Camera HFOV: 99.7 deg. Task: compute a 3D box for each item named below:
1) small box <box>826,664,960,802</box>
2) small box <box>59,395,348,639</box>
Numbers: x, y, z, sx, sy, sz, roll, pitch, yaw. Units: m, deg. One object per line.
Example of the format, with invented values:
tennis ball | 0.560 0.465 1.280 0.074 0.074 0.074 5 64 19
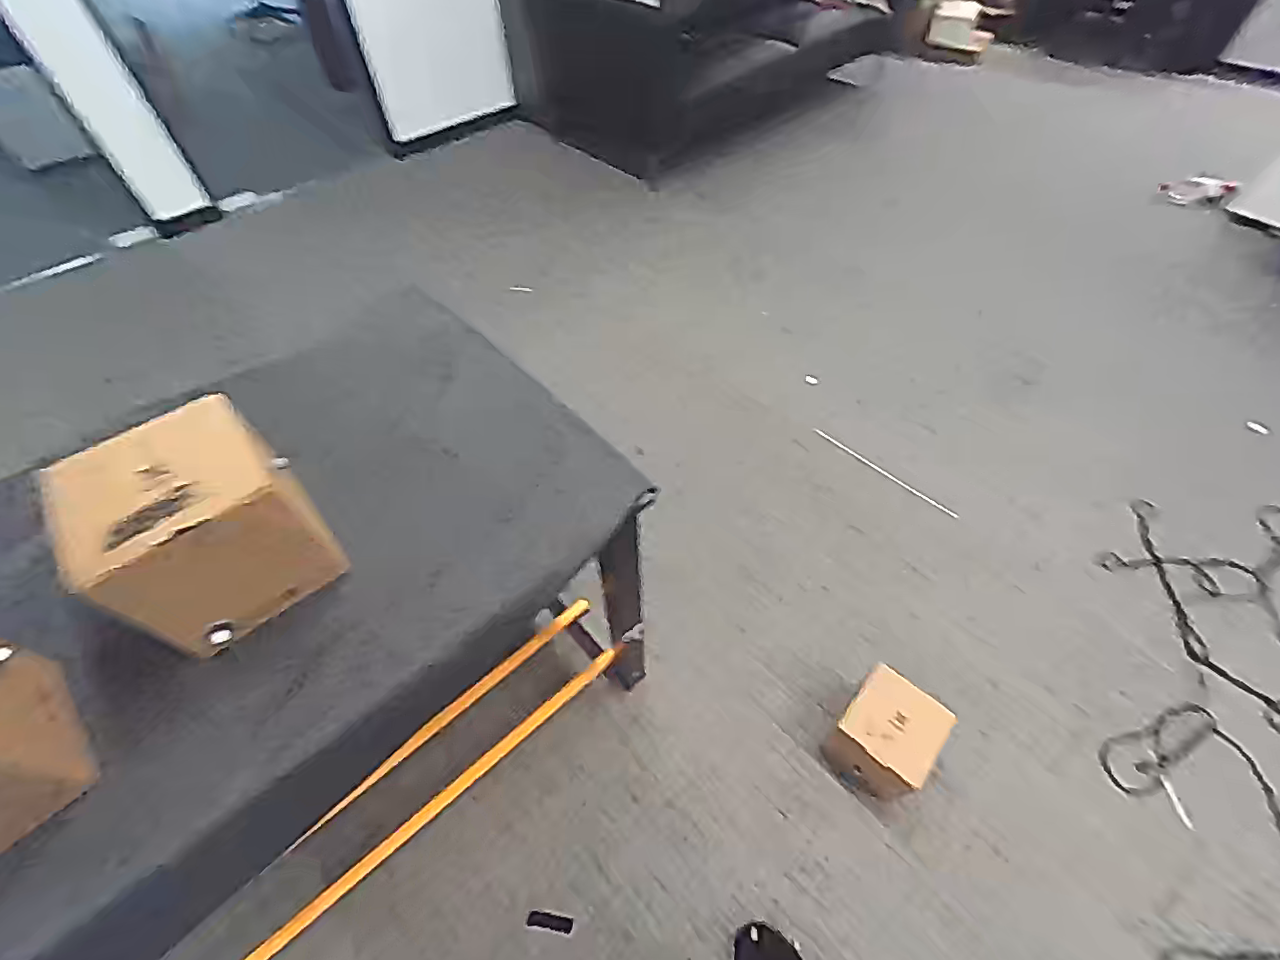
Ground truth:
small box | 0.507 0.521 1.109 0.168 0.176 0.179 35 61 26
small box | -0.455 0.047 0.587 0.168 0.176 0.179 -35 58 -23
